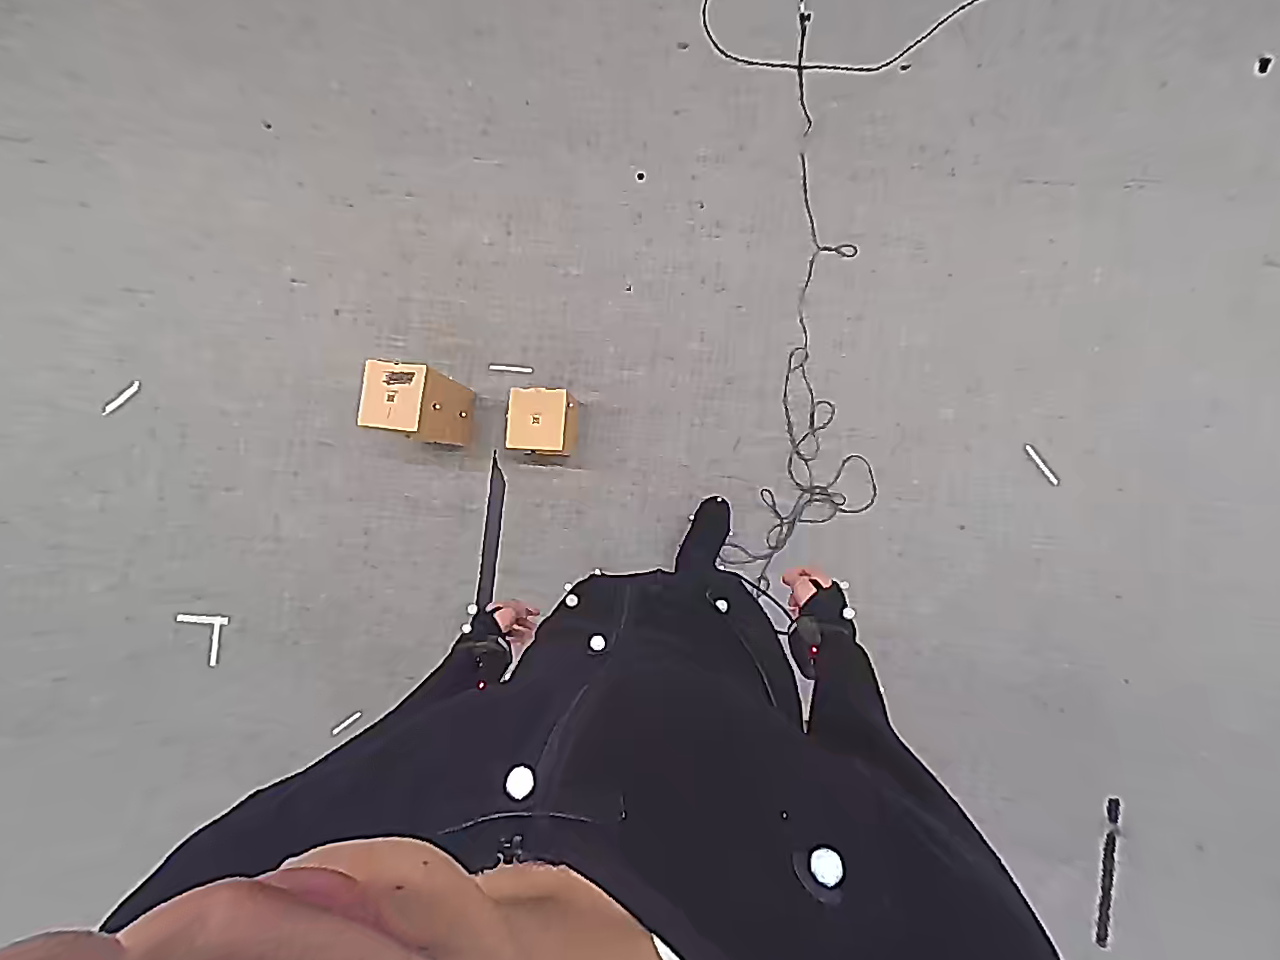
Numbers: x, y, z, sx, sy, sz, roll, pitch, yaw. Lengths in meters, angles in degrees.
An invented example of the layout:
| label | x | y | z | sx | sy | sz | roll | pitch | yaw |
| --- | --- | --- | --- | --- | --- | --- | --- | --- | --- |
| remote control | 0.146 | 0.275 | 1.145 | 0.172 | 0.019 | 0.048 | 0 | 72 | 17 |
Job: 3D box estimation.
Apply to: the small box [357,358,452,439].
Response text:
| label | x | y | z | sx | sy | sz | roll | pitch | yaw |
| --- | --- | --- | --- | --- | --- | --- | --- | --- | --- |
| small box | -0.628 | -0.215 | 1.461 | 0.168 | 0.176 | 0.179 | 7 | 88 | 5 |

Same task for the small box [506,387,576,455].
| label | x | y | z | sx | sy | sz | roll | pitch | yaw |
| --- | --- | --- | --- | --- | --- | --- | --- | --- | --- |
| small box | -0.288 | -0.169 | 1.601 | 0.168 | 0.176 | 0.179 | 3 | 86 | 4 |
